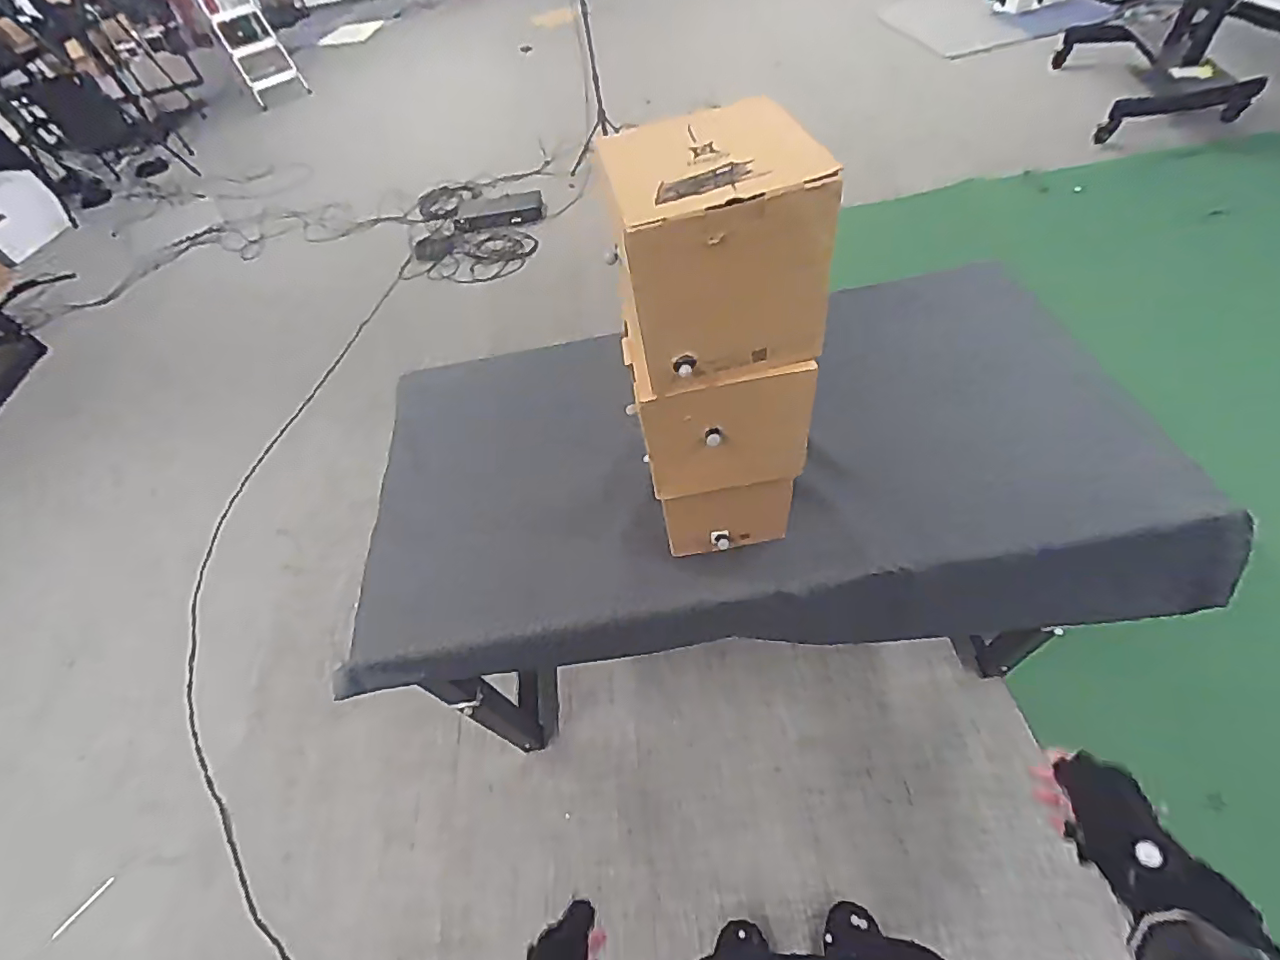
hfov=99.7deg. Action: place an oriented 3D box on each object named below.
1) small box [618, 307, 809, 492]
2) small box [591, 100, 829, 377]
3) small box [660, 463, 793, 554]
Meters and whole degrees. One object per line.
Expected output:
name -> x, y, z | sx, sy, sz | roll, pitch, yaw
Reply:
small box -> 0.083, -0.106, 0.634 | 0.179, 0.176, 0.168 | -12, 50, 1
small box -> 0.060, -0.216, 0.508 | 0.168, 0.176, 0.179 | -14, 51, 1
small box -> 0.106, -0.021, 0.769 | 0.168, 0.176, 0.179 | -13, 53, 2
